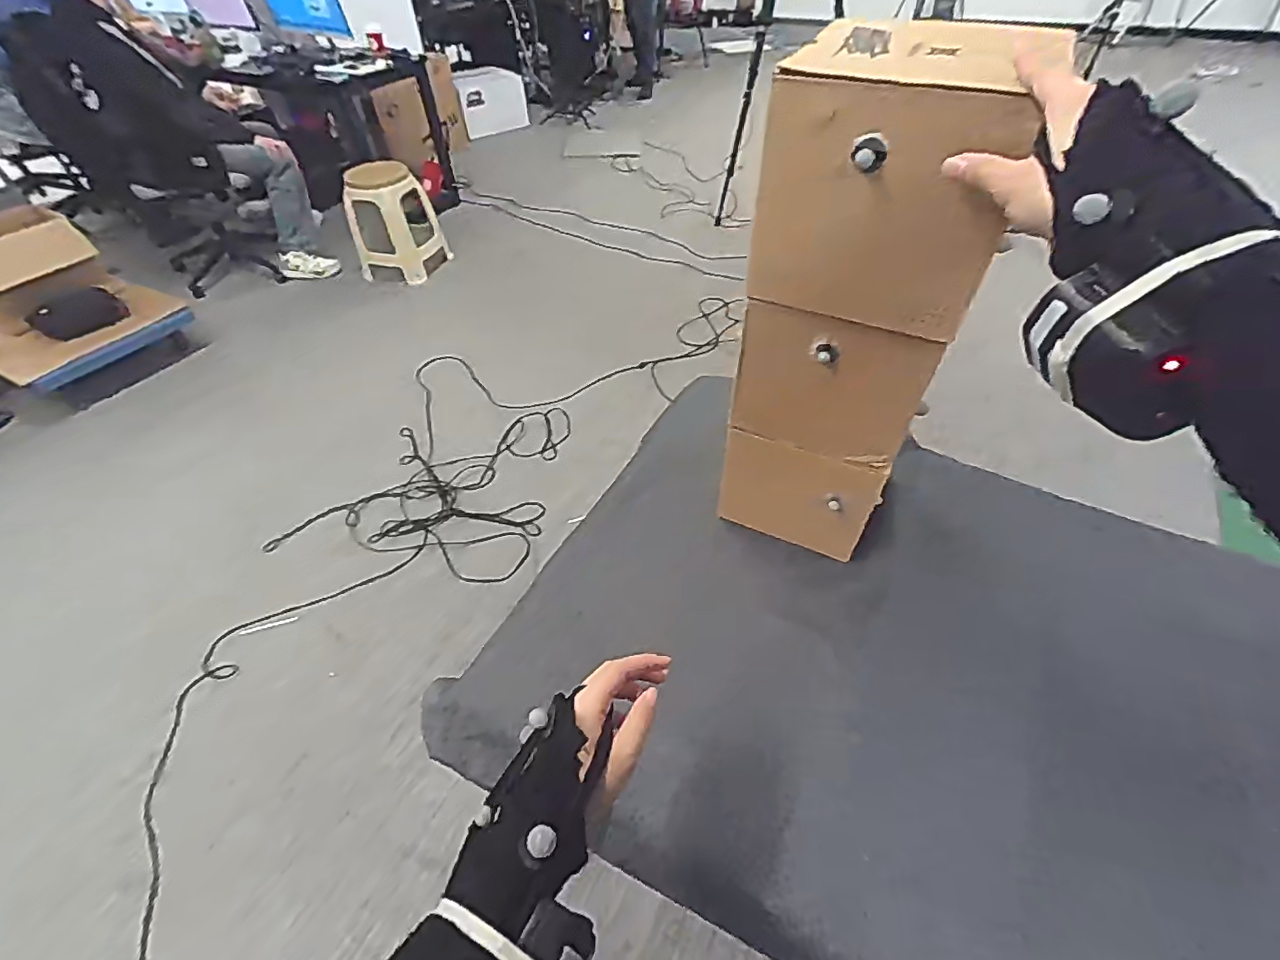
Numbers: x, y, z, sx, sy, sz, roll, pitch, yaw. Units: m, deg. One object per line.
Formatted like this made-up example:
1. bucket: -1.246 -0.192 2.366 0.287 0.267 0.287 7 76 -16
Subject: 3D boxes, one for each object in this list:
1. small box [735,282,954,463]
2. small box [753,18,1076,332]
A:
1. small box: 0.210 -0.143 0.565 0.179 0.176 0.168 20 54 17
2. small box: 0.204 -0.244 0.435 0.179 0.176 0.168 21 54 18
